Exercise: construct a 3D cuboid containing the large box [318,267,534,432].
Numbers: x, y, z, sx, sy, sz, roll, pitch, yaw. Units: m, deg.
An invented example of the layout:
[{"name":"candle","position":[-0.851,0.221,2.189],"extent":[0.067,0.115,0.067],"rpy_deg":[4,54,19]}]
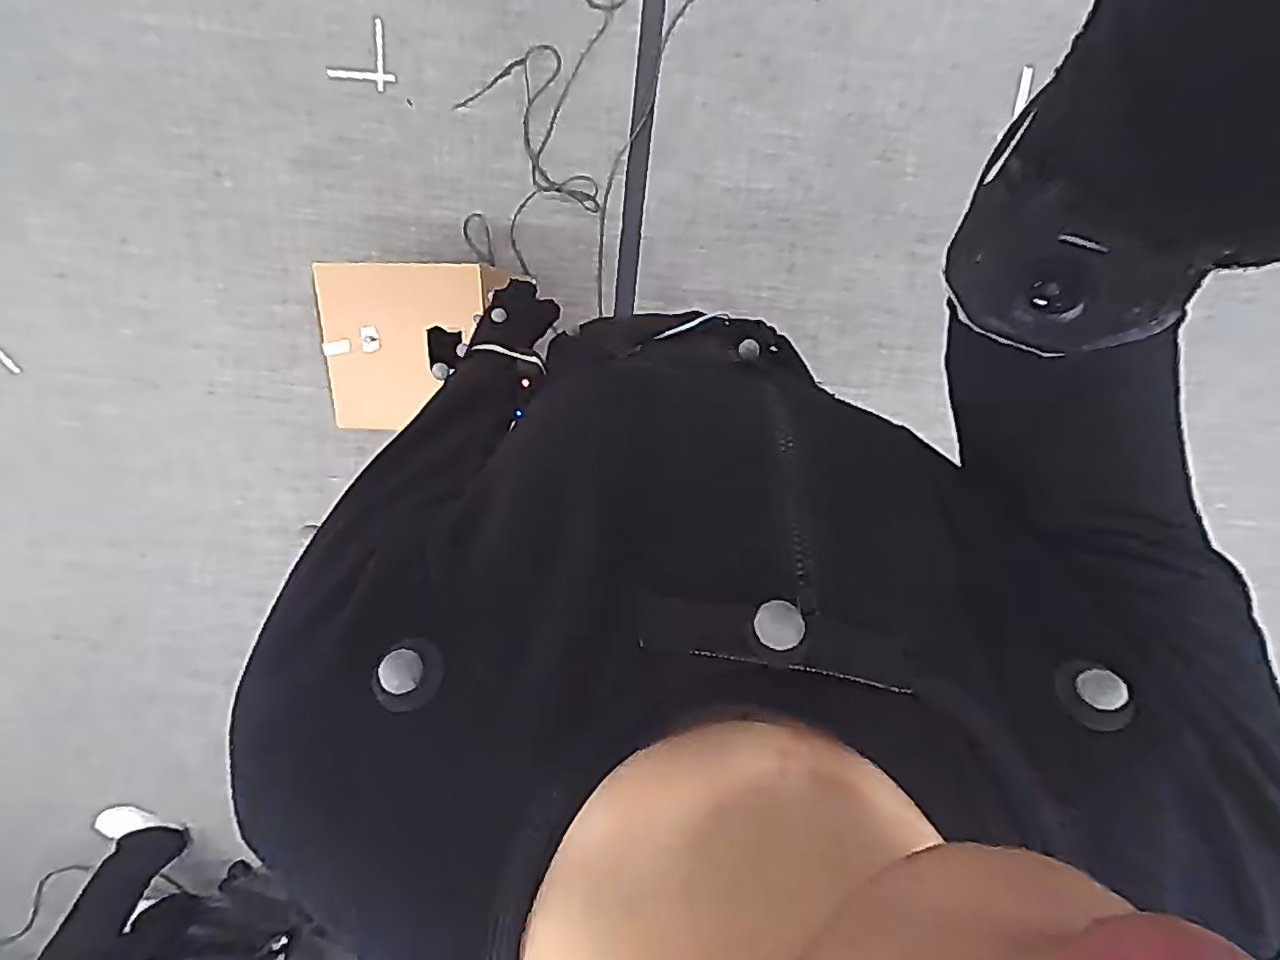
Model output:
[{"name":"large box","position":[-0.441,-0.305,1.218],"extent":[0.320,0.408,0.320],"rpy_deg":[2,108,1]}]
